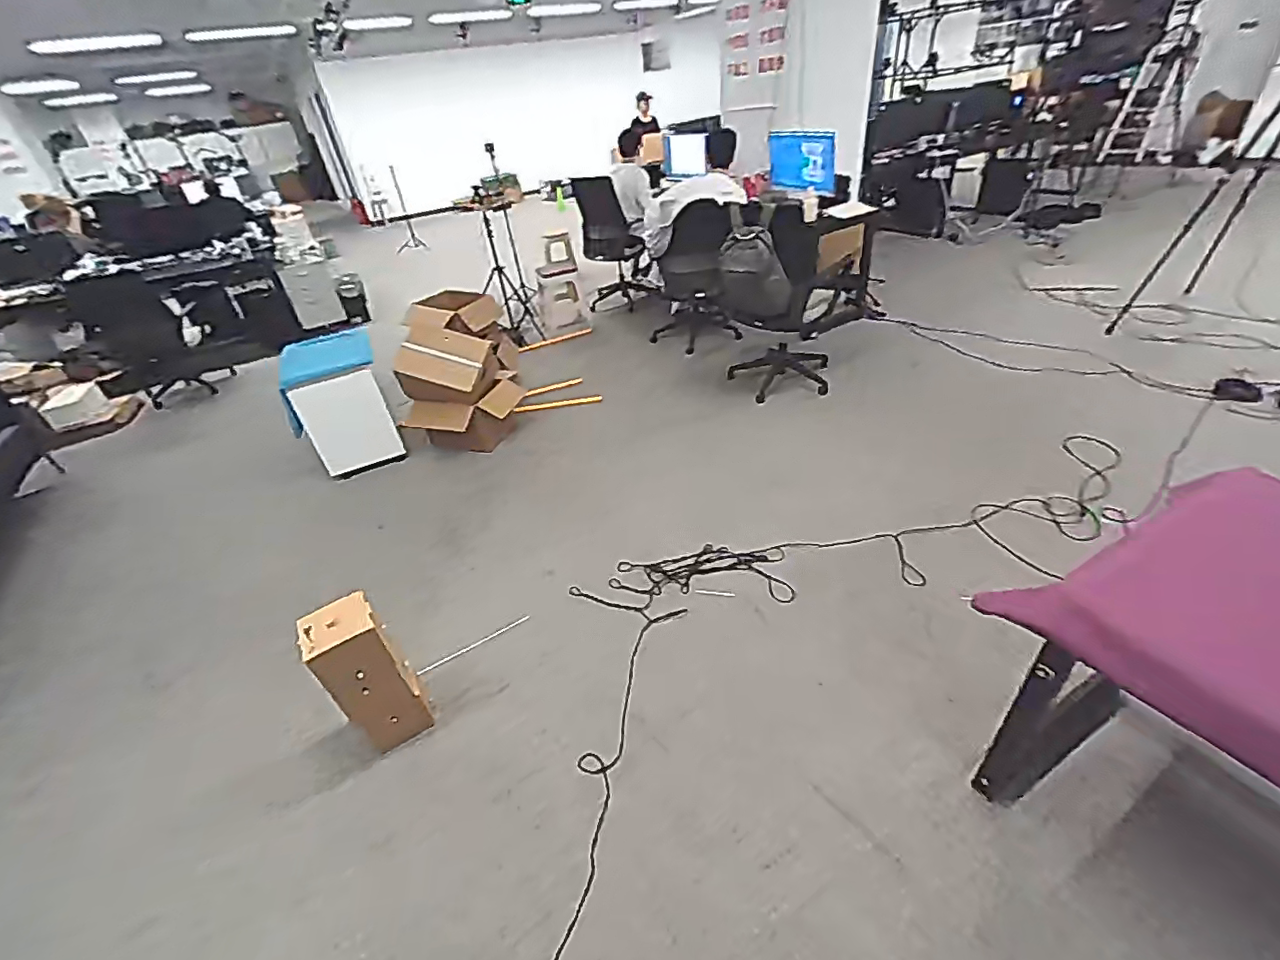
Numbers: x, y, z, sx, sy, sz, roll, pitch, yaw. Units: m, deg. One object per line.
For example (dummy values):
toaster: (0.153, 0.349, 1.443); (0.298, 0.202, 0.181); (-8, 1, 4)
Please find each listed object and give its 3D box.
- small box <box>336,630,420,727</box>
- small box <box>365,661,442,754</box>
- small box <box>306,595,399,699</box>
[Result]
small box: (-0.775, 0.585, 1.591); (0.179, 0.176, 0.168); (-24, 39, -21)
small box: (-0.745, 0.714, 1.689); (0.179, 0.176, 0.168); (-24, 38, -21)
small box: (-0.784, 0.459, 1.487); (0.179, 0.176, 0.168); (-25, 39, -23)
